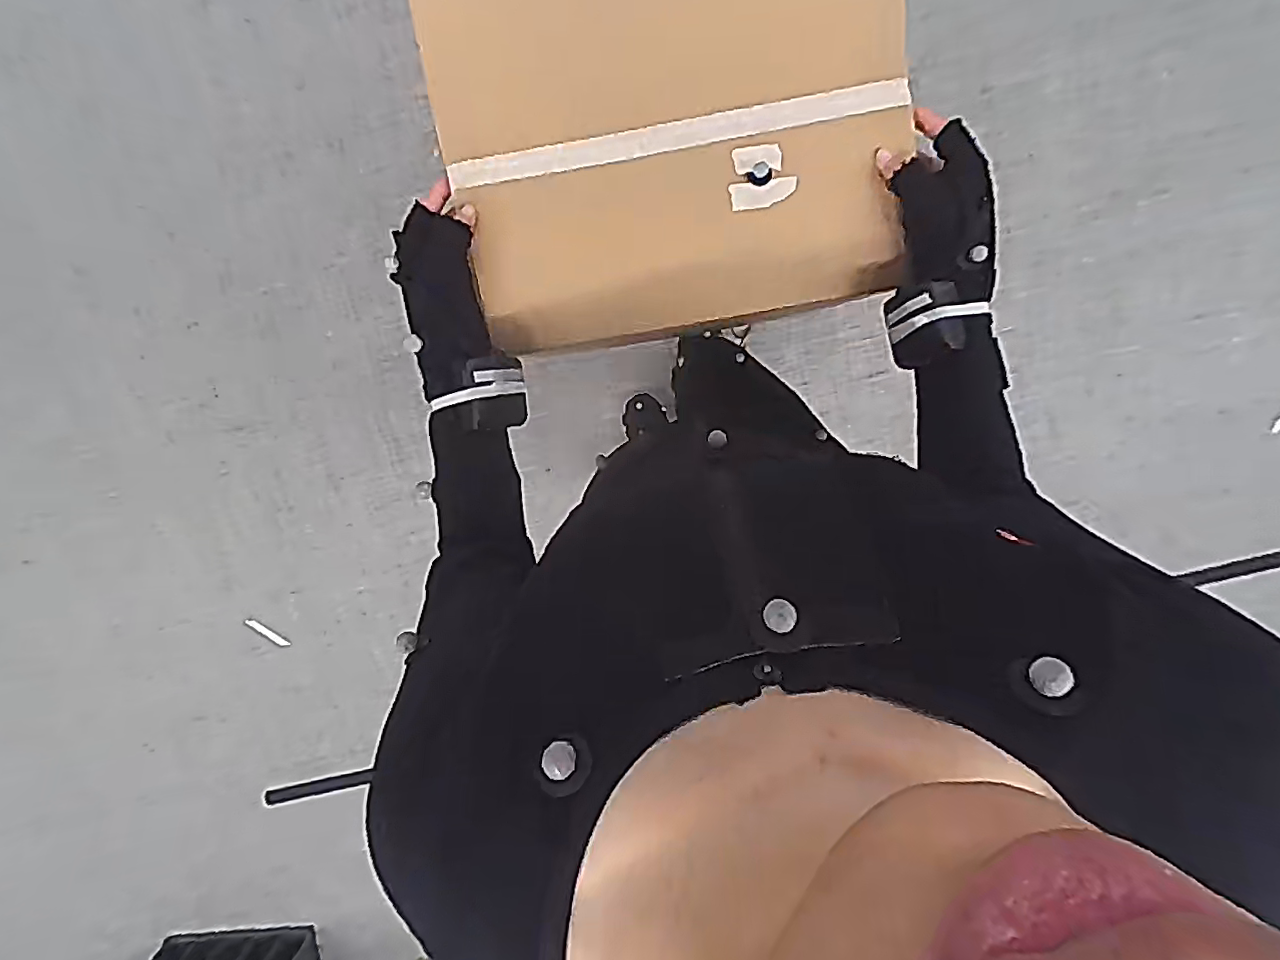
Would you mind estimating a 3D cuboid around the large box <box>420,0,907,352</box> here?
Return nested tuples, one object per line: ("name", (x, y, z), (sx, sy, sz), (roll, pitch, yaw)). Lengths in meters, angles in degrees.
("large box", (0.028, -0.342, 0.628), (0.408, 0.320, 0.320), (-9, 102, 1))
